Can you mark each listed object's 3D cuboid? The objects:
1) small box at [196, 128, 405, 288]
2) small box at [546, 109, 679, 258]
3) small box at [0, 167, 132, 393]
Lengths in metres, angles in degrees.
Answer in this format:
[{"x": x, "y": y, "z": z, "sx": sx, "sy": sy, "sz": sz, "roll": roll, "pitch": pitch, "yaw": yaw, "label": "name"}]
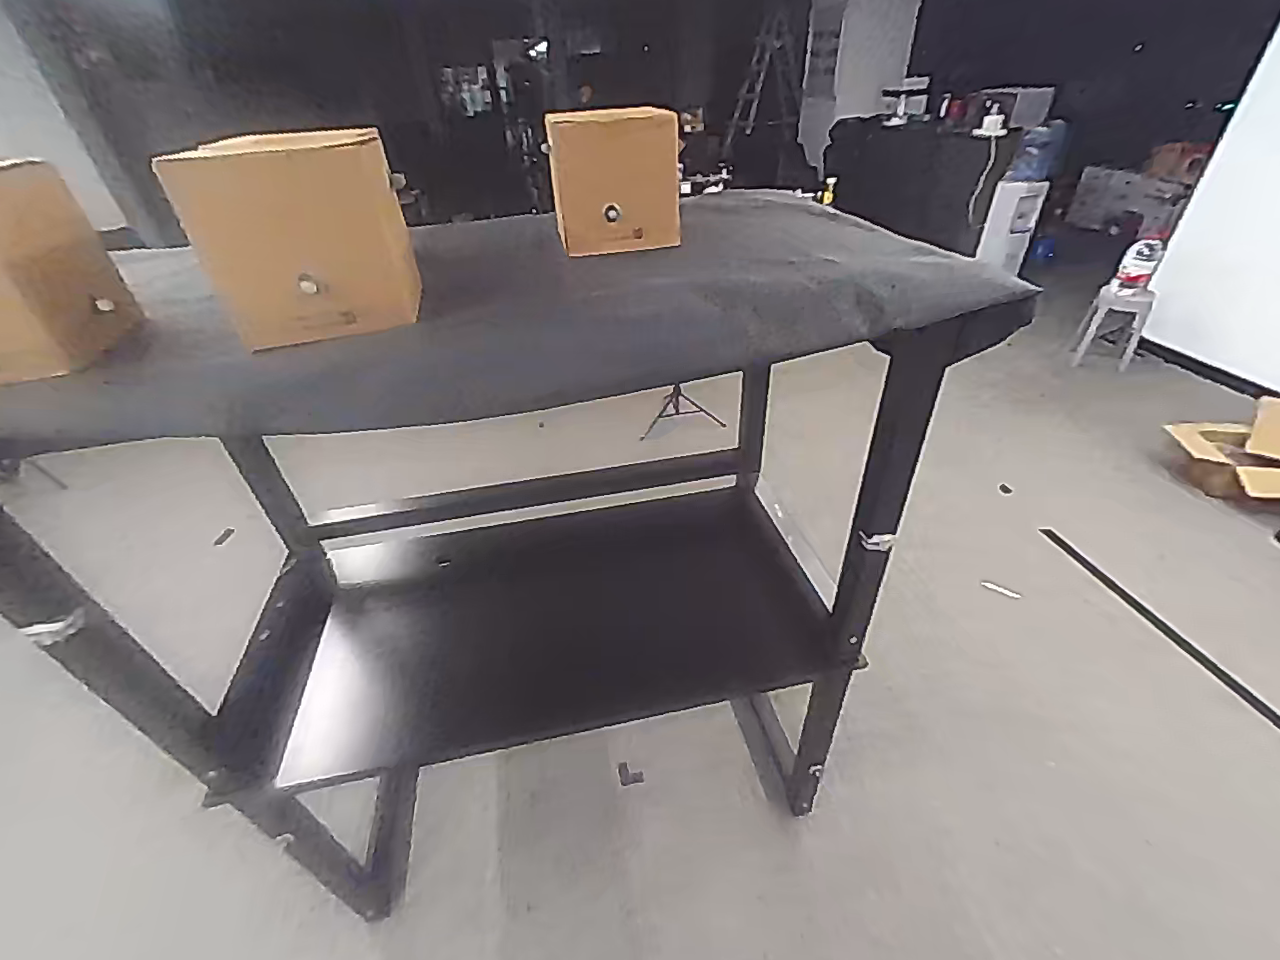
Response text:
[{"x": -0.440, "y": -0.369, "z": 0.741, "sx": 0.168, "sy": 0.176, "sz": 0.179, "roll": -7, "pitch": 38, "yaw": -6, "label": "small box"}, {"x": -0.043, "y": -0.439, "z": 0.798, "sx": 0.168, "sy": 0.176, "sz": 0.179, "roll": -9, "pitch": 38, "yaw": -7, "label": "small box"}, {"x": -0.646, "y": -0.187, "z": 0.514, "sx": 0.168, "sy": 0.176, "sz": 0.179, "roll": -14, "pitch": 38, "yaw": -13, "label": "small box"}]
